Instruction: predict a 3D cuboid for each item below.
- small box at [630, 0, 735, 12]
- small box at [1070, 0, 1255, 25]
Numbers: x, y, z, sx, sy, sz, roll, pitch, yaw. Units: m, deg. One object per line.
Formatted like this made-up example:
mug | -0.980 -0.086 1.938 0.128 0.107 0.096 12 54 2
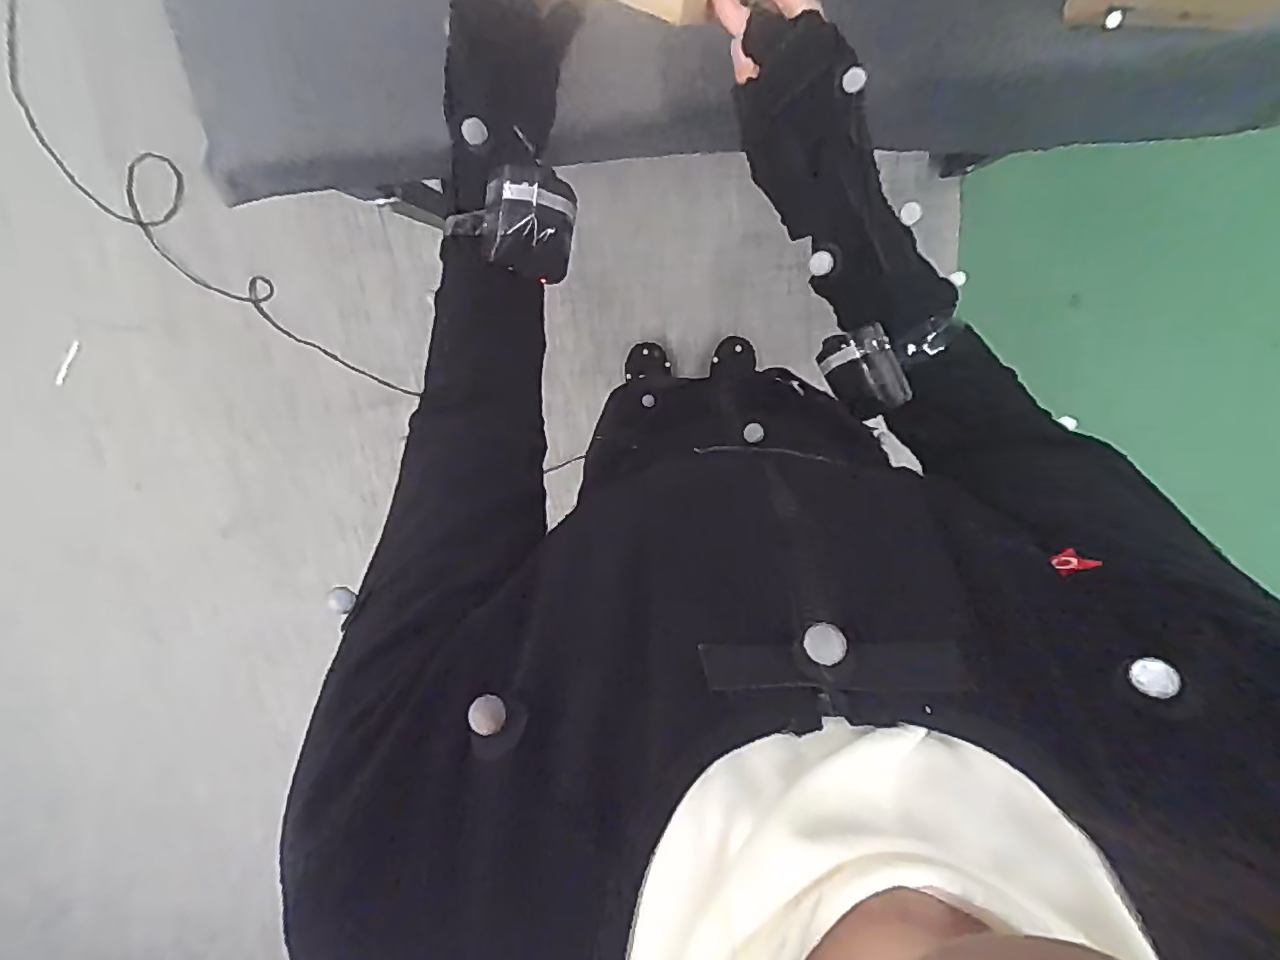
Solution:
small box | 0.011 -0.392 0.297 0.179 0.176 0.168 35 142 12
small box | 0.500 -0.519 0.447 0.168 0.176 0.179 2 106 1
